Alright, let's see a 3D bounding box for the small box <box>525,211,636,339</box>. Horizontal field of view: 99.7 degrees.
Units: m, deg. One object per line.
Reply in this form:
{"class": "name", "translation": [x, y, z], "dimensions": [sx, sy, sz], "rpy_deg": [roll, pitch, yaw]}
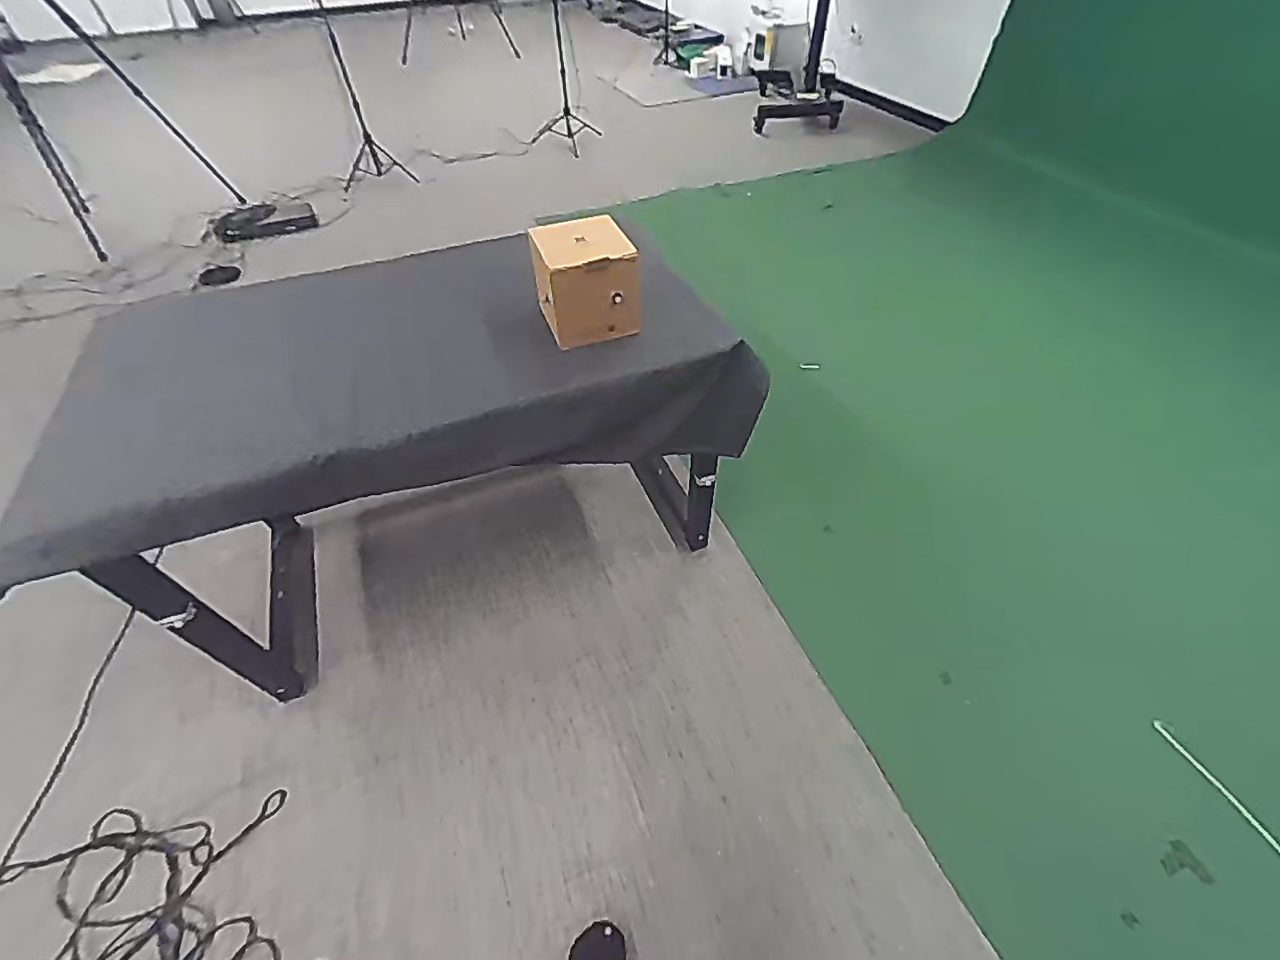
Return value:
{"class": "small box", "translation": [-0.109, -0.388, 1.037], "dimensions": [0.168, 0.176, 0.179], "rpy_deg": [-16, 49, -14]}
